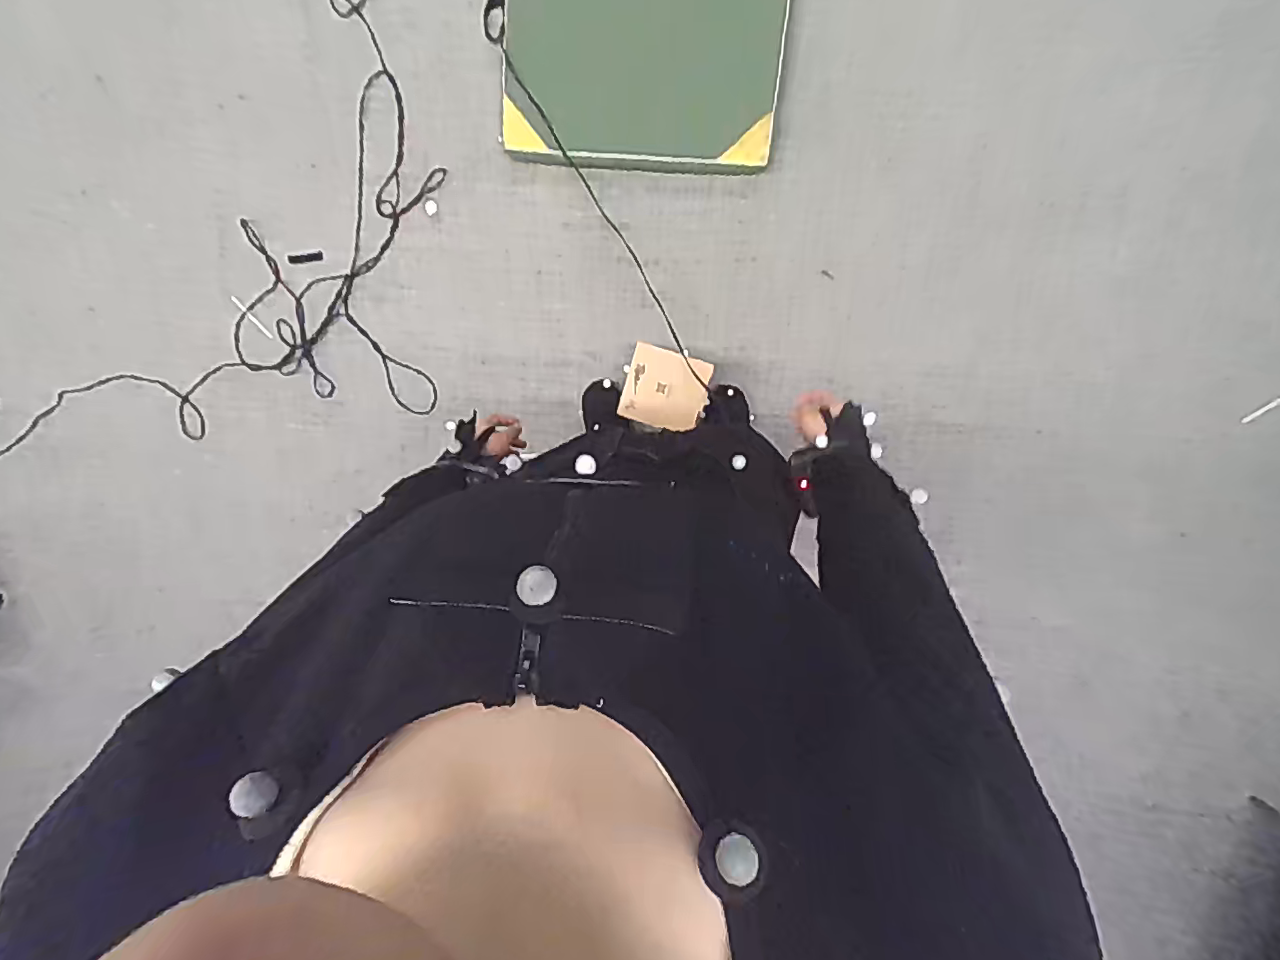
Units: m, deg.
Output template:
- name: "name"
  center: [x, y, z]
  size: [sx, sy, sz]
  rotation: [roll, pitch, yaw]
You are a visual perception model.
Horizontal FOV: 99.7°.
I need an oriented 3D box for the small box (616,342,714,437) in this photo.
- name: "small box"
  center: [0.058, -0.209, 1.239]
  size: [0.179, 0.176, 0.168]
  rotation: [18, 101, 1]
